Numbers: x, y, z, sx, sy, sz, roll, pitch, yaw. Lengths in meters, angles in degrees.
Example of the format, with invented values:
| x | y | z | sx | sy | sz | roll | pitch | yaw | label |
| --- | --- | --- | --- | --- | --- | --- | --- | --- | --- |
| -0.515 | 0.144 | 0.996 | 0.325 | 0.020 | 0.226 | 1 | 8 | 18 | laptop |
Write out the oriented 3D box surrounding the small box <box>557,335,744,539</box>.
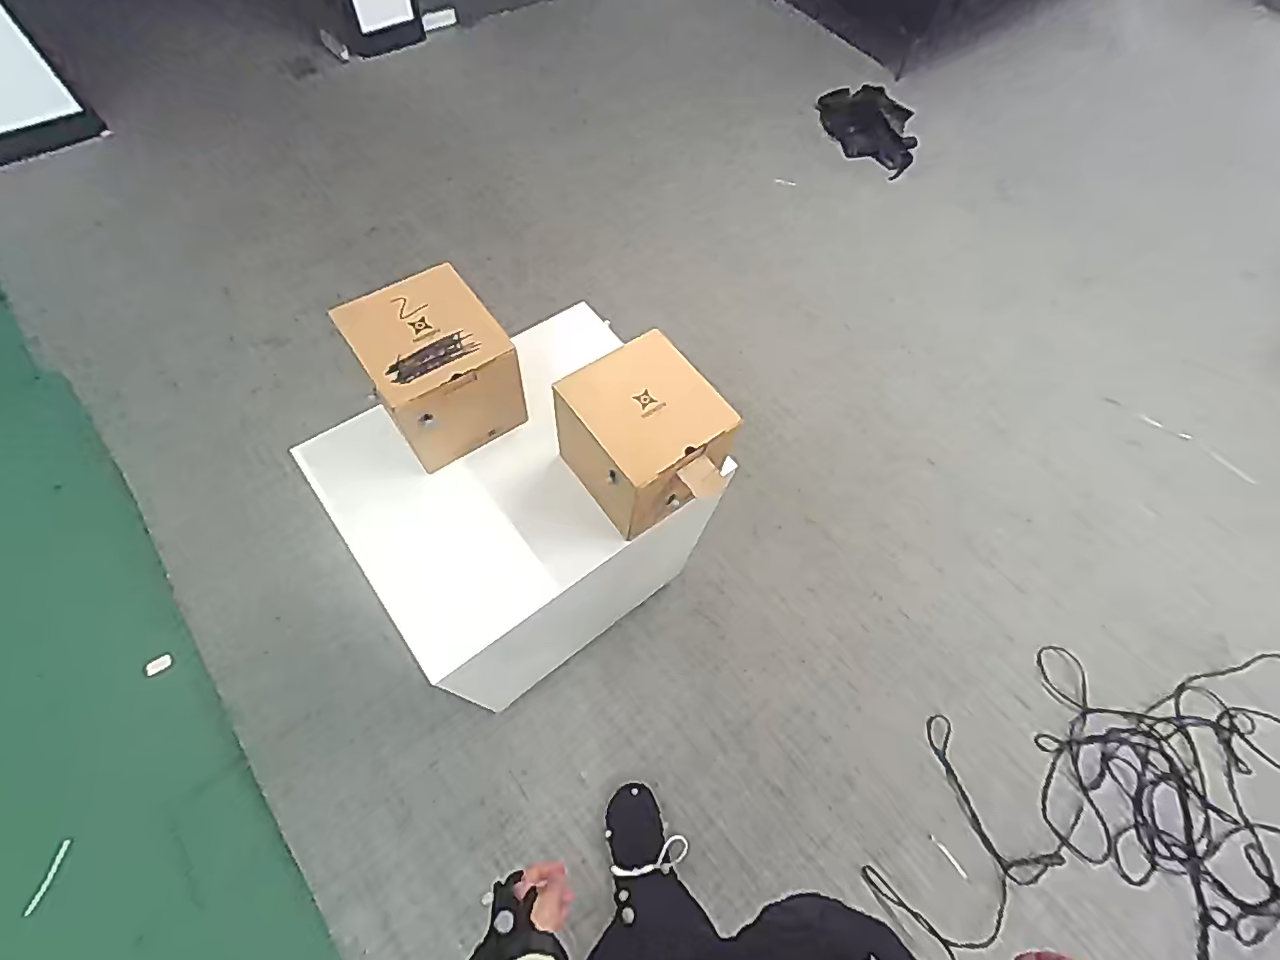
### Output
| x | y | z | sx | sy | sz | roll | pitch | yaw | label |
| --- | --- | --- | --- | --- | --- | --- | --- | --- | --- |
| 0.005 | -0.052 | 0.722 | 0.168 | 0.176 | 0.179 | -33 | 70 | -20 | small box |
